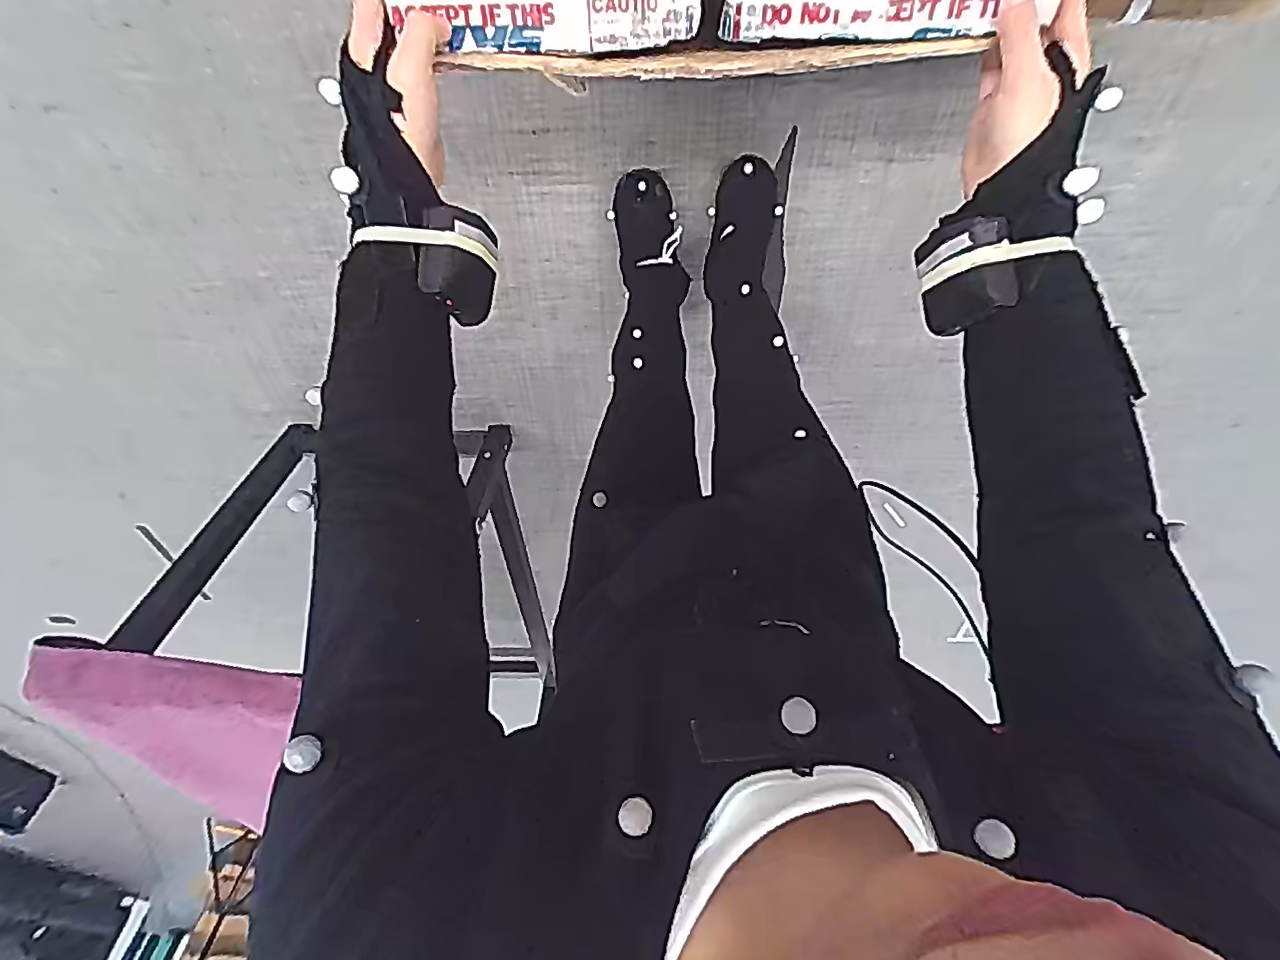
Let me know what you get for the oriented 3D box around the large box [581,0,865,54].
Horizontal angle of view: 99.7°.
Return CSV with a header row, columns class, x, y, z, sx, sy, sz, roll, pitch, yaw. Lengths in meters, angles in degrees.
class,x,y,z,sx,sy,sz,roll,pitch,yaw
large box,0.084,-0.739,0.582,0.320,0.320,0.408,0,133,4
